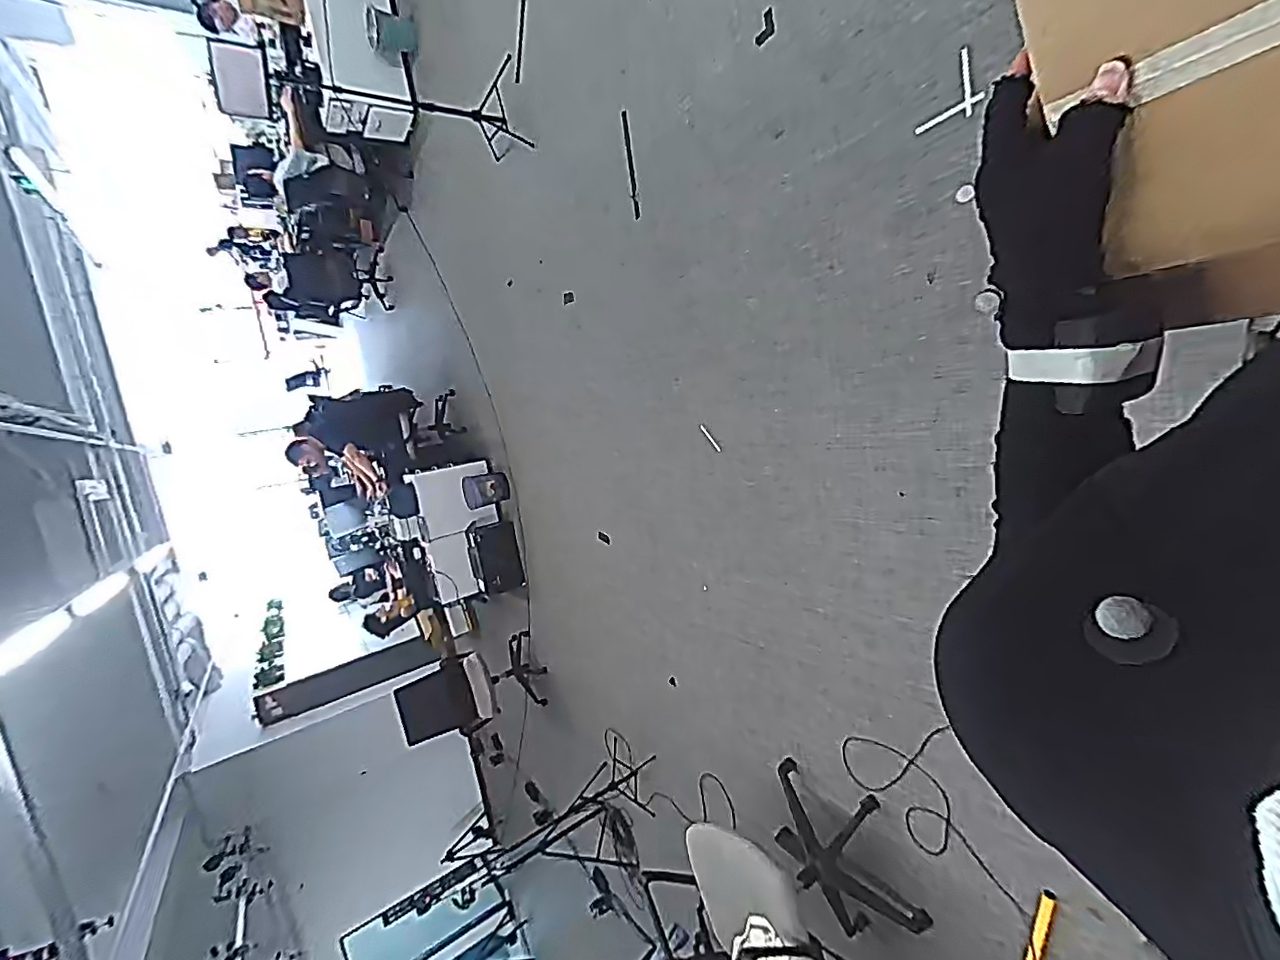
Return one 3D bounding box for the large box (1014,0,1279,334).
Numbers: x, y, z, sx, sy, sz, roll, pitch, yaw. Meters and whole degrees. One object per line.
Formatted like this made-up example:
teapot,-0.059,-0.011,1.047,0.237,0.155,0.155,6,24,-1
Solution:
large box,0.456,-0.314,0.230,0.320,0.320,0.408,53,155,-23
